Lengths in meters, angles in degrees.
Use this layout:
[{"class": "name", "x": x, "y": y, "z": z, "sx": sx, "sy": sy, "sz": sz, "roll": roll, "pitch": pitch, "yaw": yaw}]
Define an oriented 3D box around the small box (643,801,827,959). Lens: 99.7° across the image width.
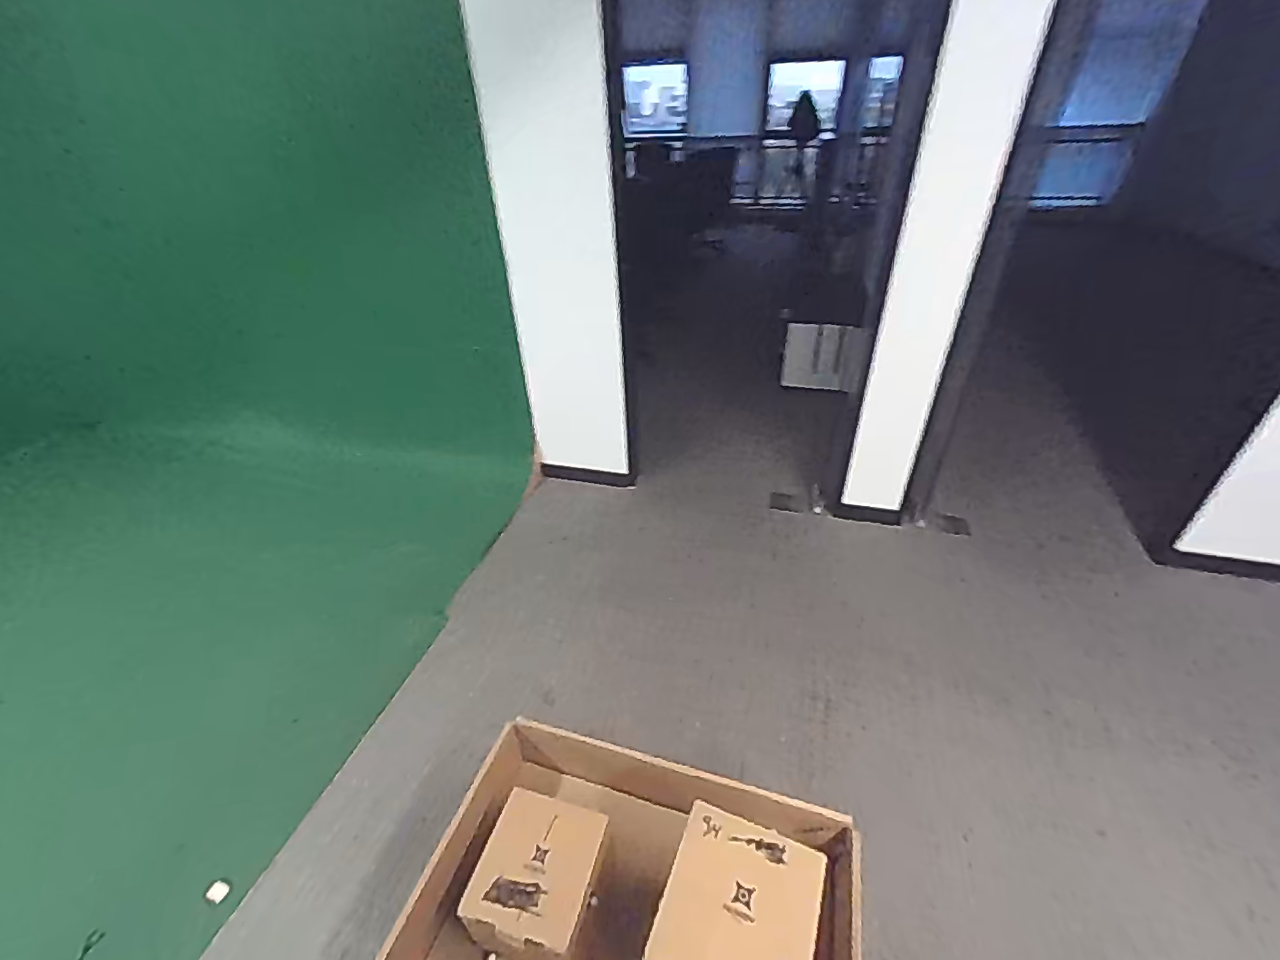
[{"class": "small box", "x": 0.116, "y": 0.539, "z": 0.647, "sx": 0.168, "sy": 0.176, "sz": 0.179, "roll": 13, "pitch": 39, "yaw": 21}]
